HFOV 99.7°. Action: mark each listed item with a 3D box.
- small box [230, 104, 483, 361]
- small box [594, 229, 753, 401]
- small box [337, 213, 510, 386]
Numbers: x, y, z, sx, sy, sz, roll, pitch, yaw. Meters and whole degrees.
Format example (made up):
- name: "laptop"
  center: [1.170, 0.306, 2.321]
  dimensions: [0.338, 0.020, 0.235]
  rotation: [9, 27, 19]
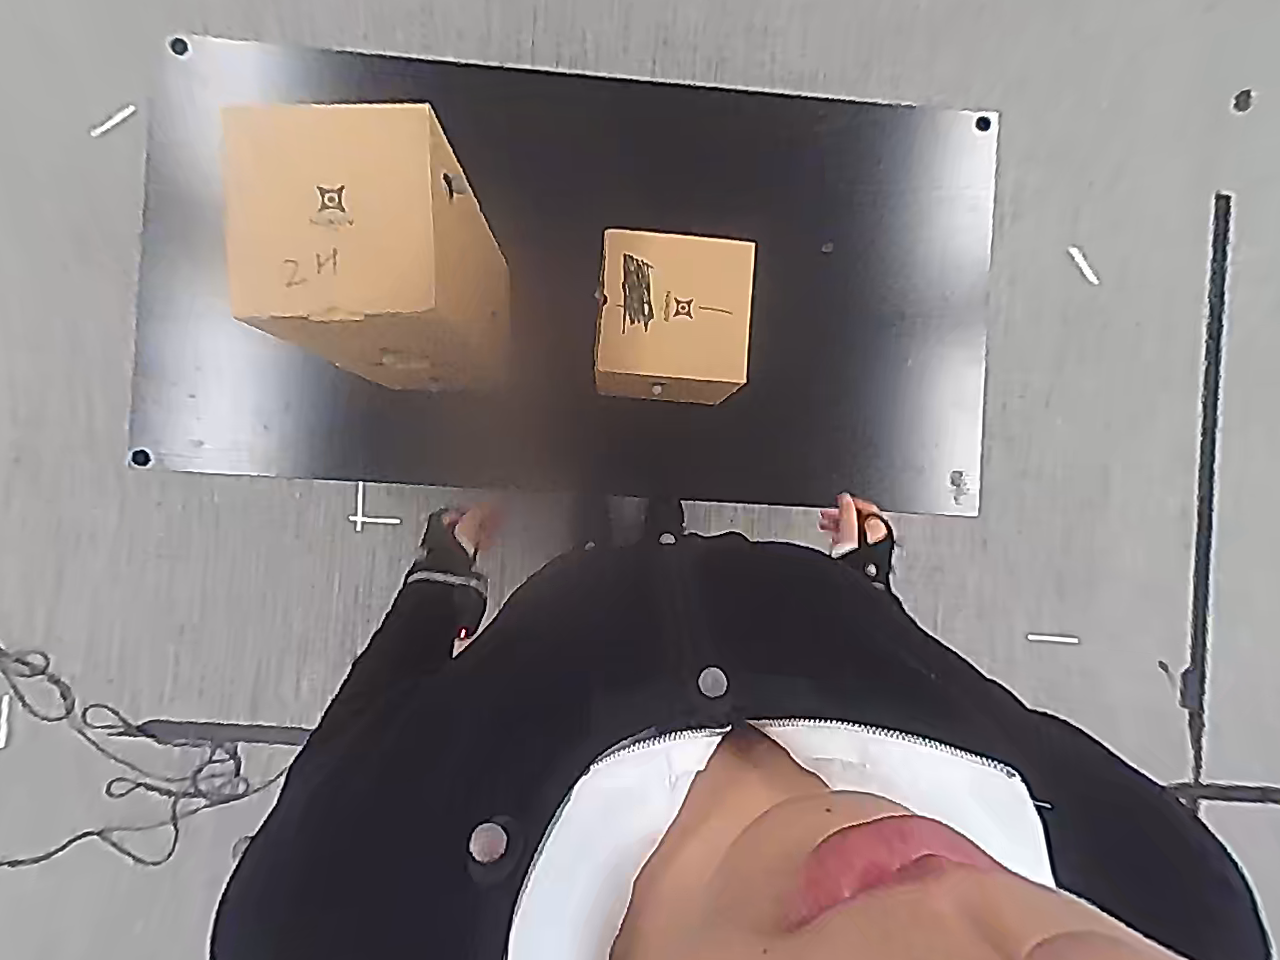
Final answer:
- name: "small box"
  center: [-0.255, -0.222, 0.525]
  dimensions: [0.168, 0.176, 0.179]
  rotation: [-2, 90, -2]
- name: "small box"
  center: [0.036, -0.201, 0.703]
  dimensions: [0.179, 0.176, 0.168]
  rotation: [4, 89, -3]
- name: "small box"
  center: [-0.263, -0.217, 0.690]
  dimensions: [0.168, 0.176, 0.179]
  rotation: [-1, 90, -2]
